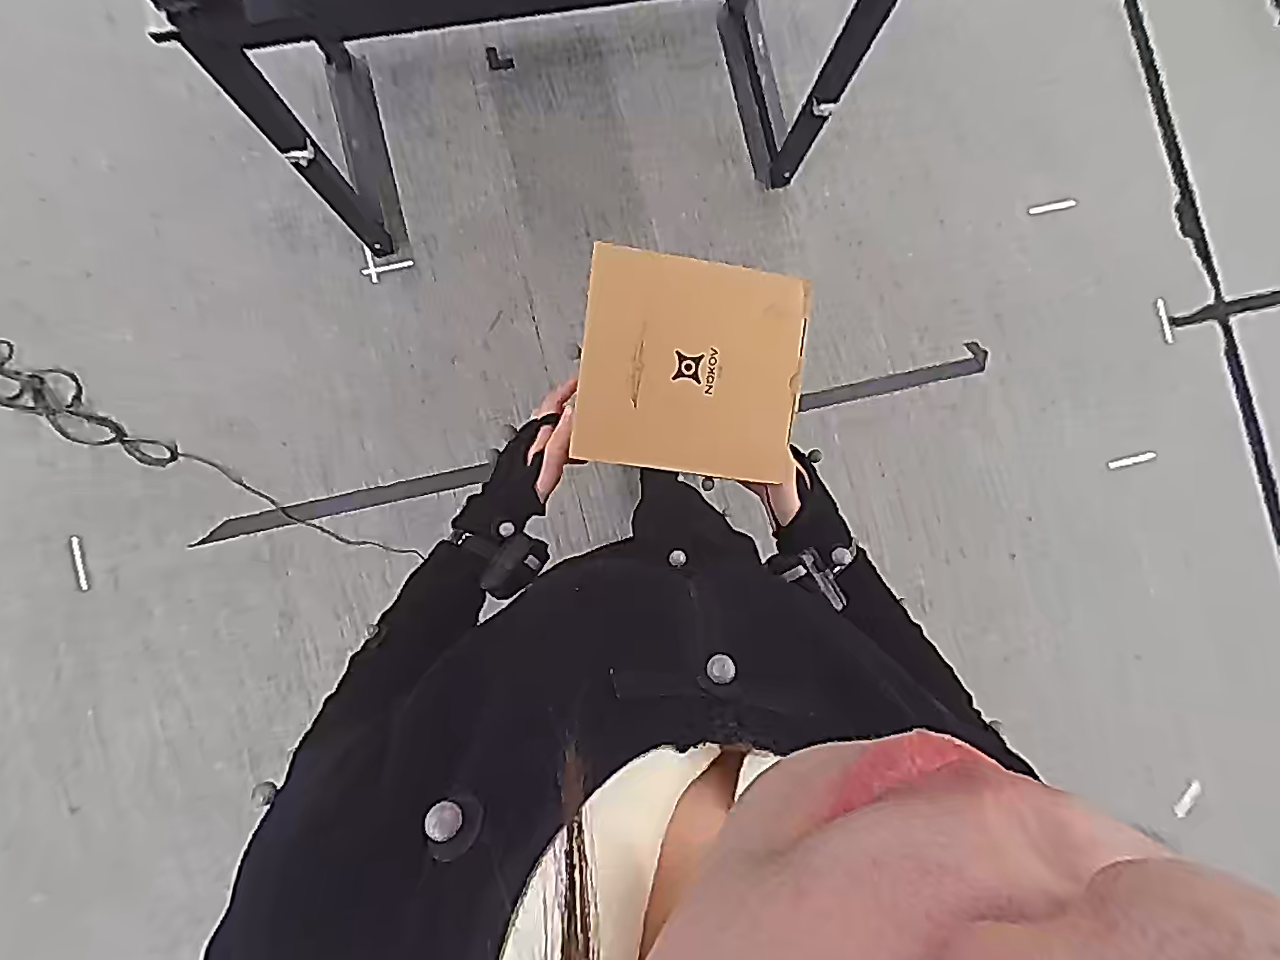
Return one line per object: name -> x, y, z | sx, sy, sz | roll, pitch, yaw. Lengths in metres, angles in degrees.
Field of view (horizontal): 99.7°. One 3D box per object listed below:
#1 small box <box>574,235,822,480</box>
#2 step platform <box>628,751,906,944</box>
small box -> 0.037, -0.096, 0.490 | 0.179, 0.176, 0.168 | 6, 93, -6
step platform -> 0.318, 0.928, 1.387 | 0.684, 0.204, 0.286 | -7, 88, -6
